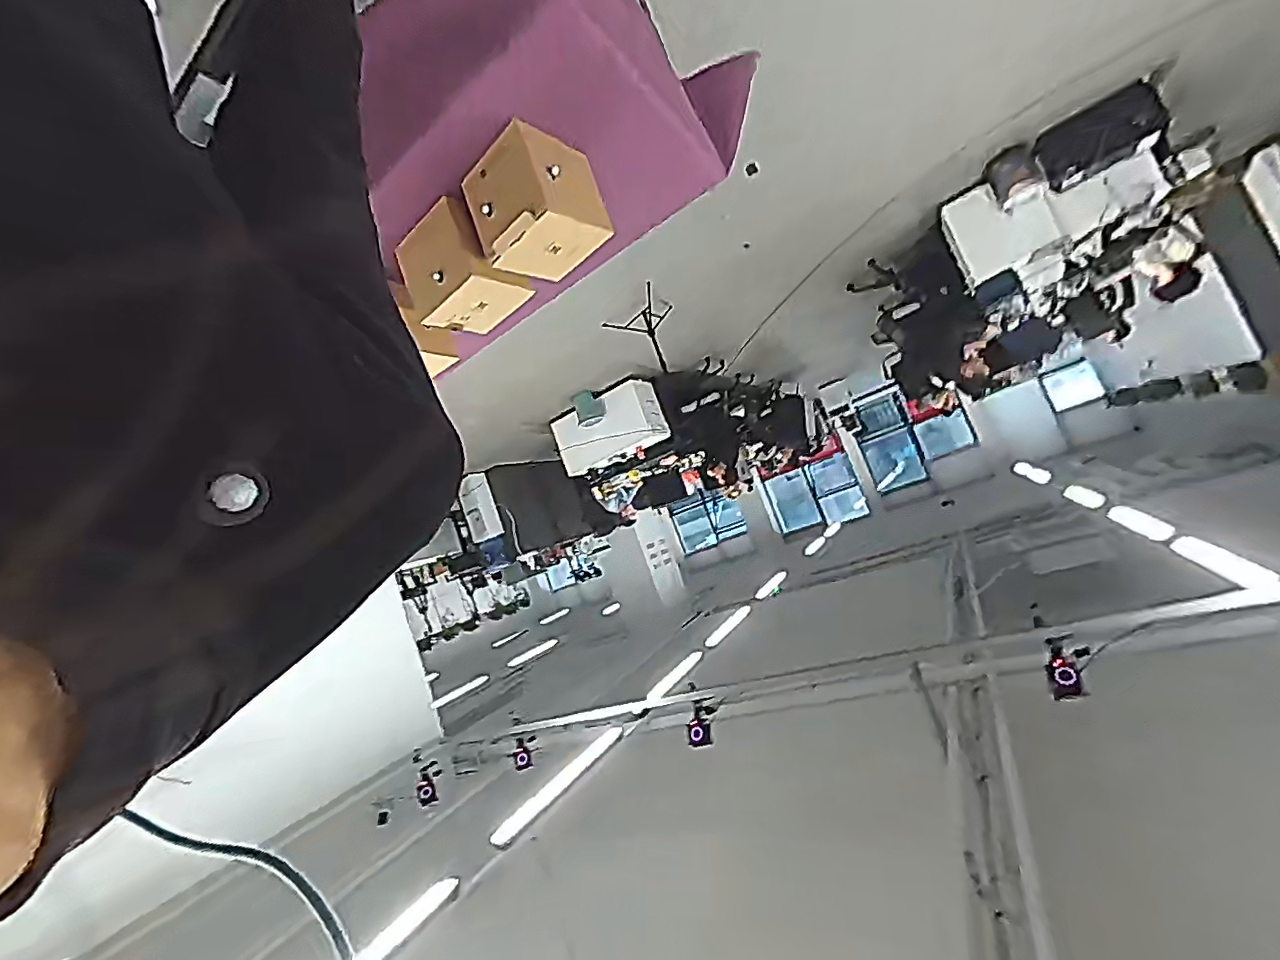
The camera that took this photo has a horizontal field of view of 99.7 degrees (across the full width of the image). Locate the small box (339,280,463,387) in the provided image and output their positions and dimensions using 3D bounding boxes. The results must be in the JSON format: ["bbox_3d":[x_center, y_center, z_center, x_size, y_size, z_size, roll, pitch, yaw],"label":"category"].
[{"bbox_3d":[-0.545,-0.330,1.230,0.168,0.176,0.179,-23,174,25],"label":"small box"}]

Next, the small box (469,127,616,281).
[{"bbox_3d":[-0.179,-0.493,0.978,0.168,0.176,0.179,-23,174,36],"label":"small box"}]
